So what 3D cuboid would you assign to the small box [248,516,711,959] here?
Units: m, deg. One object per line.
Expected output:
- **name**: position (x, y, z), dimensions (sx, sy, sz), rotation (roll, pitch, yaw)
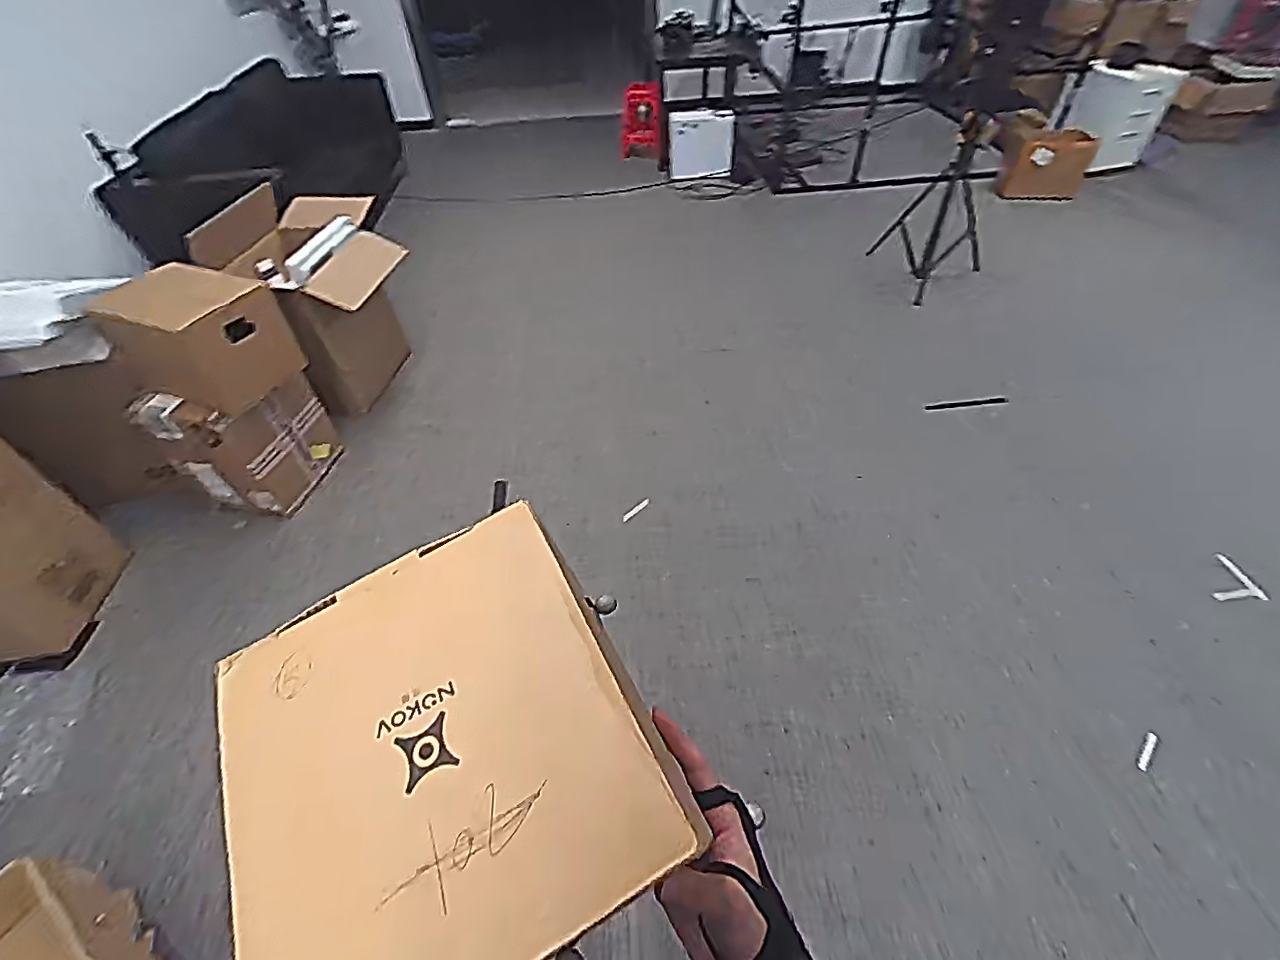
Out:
- **small box**: position (-0.074, 0.158, 0.304), dimensions (0.168, 0.176, 0.179), rotation (-29, 58, -8)
